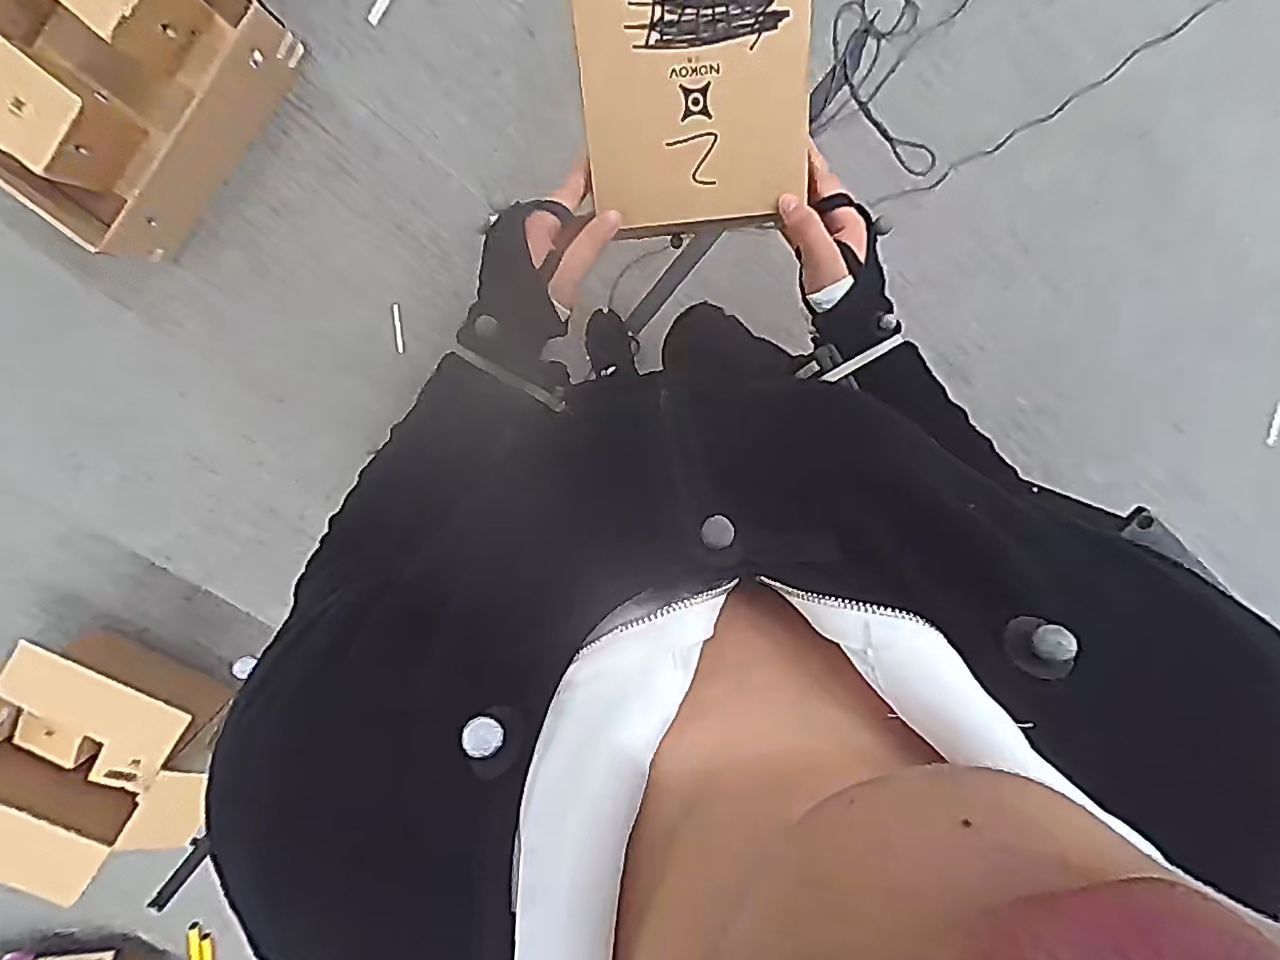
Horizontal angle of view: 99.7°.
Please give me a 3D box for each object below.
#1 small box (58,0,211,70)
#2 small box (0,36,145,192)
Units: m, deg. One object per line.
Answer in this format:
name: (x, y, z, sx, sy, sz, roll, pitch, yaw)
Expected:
small box: (-1.001, -0.947, 1.051, 0.179, 0.176, 0.168, 42, 100, -15)
small box: (-1.181, -0.727, 1.102, 0.168, 0.176, 0.179, 39, 98, -15)
